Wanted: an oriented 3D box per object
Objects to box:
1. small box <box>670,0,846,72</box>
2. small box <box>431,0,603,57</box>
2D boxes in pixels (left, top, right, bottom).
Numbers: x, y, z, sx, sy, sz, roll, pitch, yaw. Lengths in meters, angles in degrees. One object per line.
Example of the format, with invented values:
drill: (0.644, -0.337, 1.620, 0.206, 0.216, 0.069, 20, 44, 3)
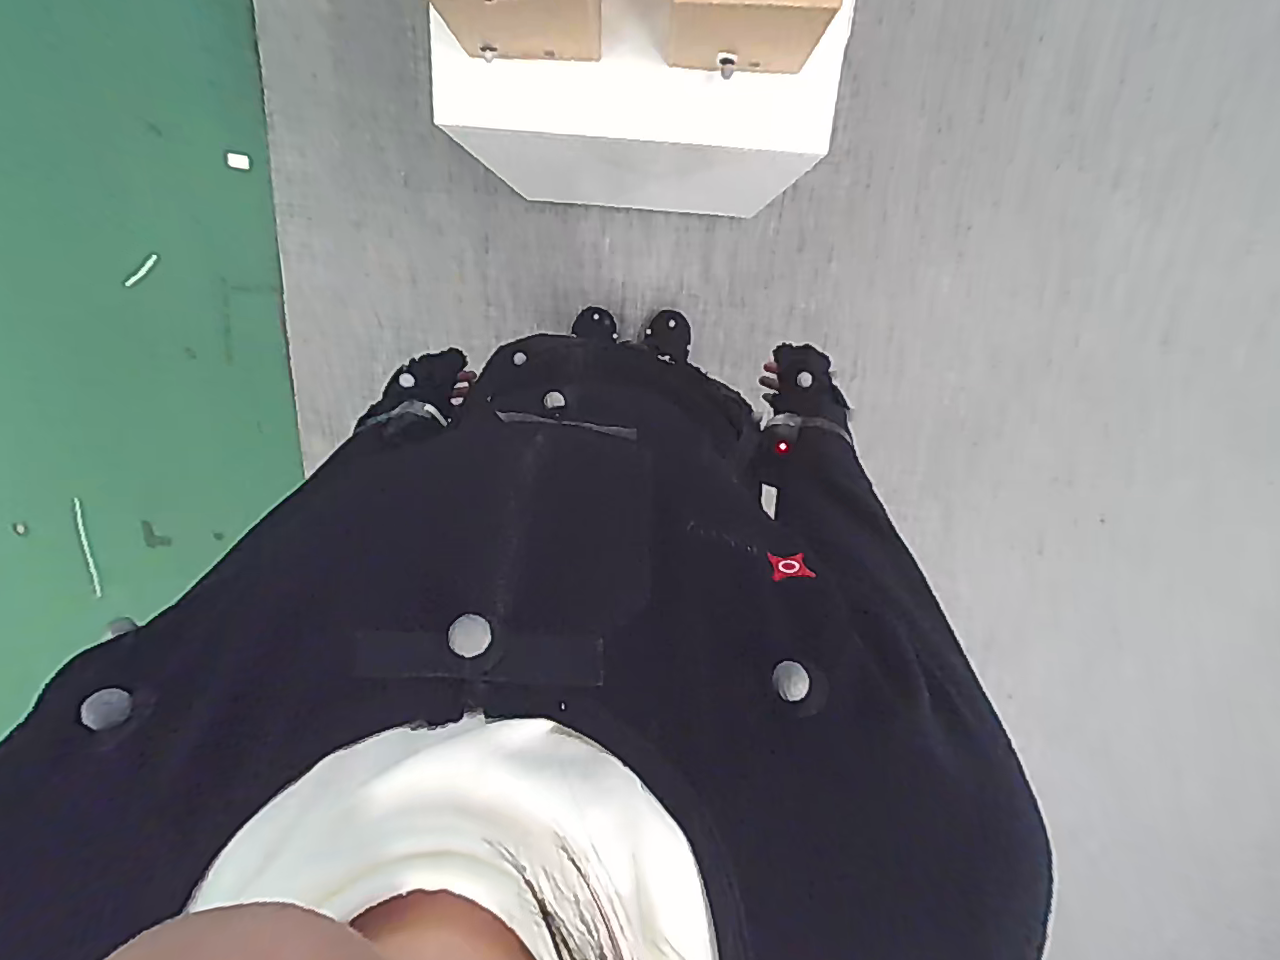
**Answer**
small box: (0.118, -0.555, 0.552, 0.168, 0.176, 0.179, 2, 110, 2)
small box: (-0.127, -0.578, 0.565, 0.168, 0.176, 0.179, 2, 107, 1)
